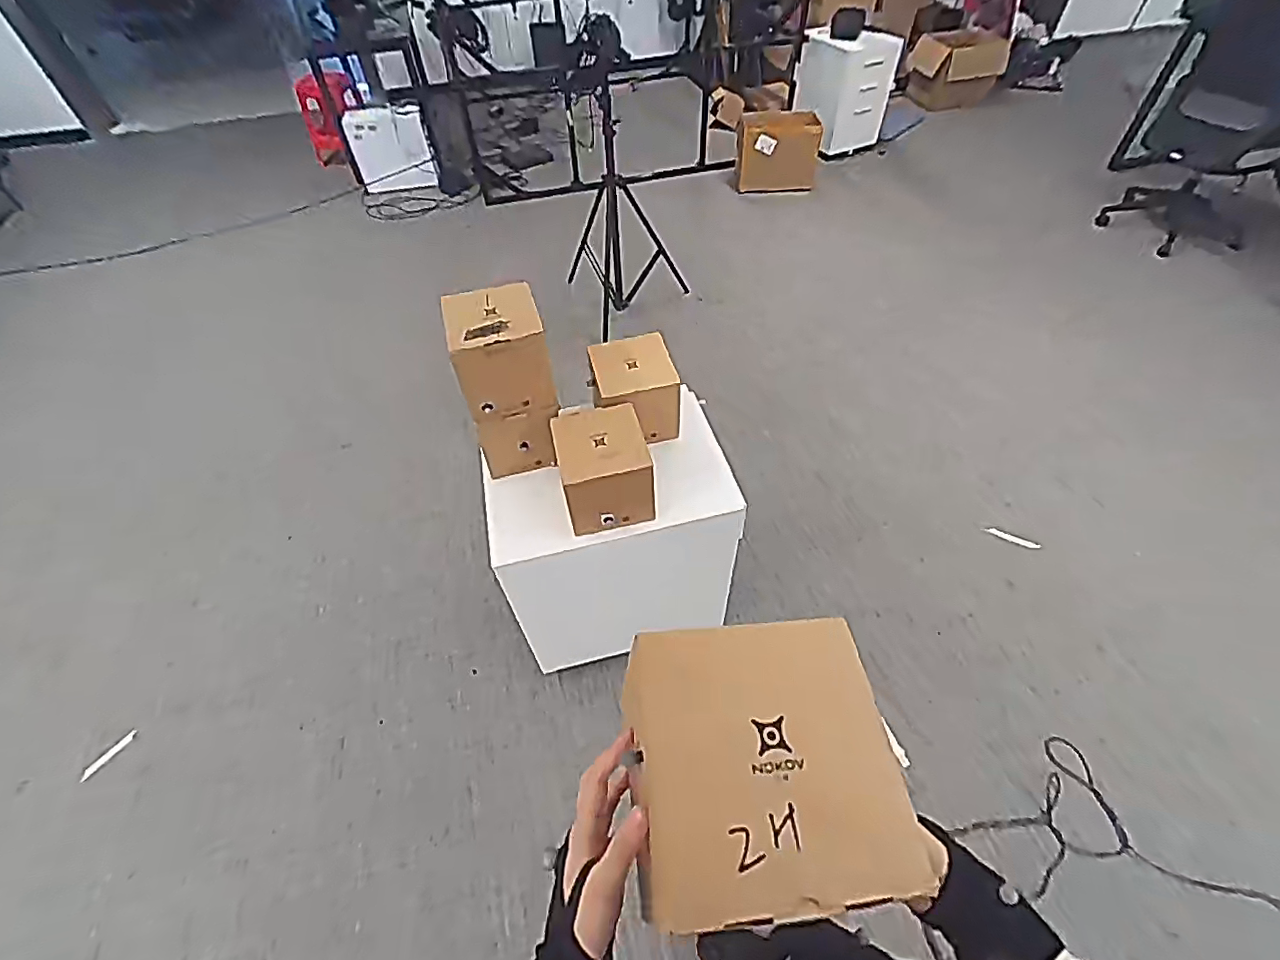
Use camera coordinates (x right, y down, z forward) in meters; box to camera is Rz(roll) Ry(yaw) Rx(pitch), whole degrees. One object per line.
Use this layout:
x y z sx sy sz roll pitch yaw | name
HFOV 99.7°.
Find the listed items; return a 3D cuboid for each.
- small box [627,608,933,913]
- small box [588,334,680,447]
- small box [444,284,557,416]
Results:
0.082 0.220 0.429 0.168 0.176 0.179 -3 55 -8 | small box
-0.011 -0.189 1.194 0.168 0.176 0.179 -13 51 -7 | small box
-0.262 -0.241 1.033 0.168 0.176 0.179 -15 52 -10 | small box
